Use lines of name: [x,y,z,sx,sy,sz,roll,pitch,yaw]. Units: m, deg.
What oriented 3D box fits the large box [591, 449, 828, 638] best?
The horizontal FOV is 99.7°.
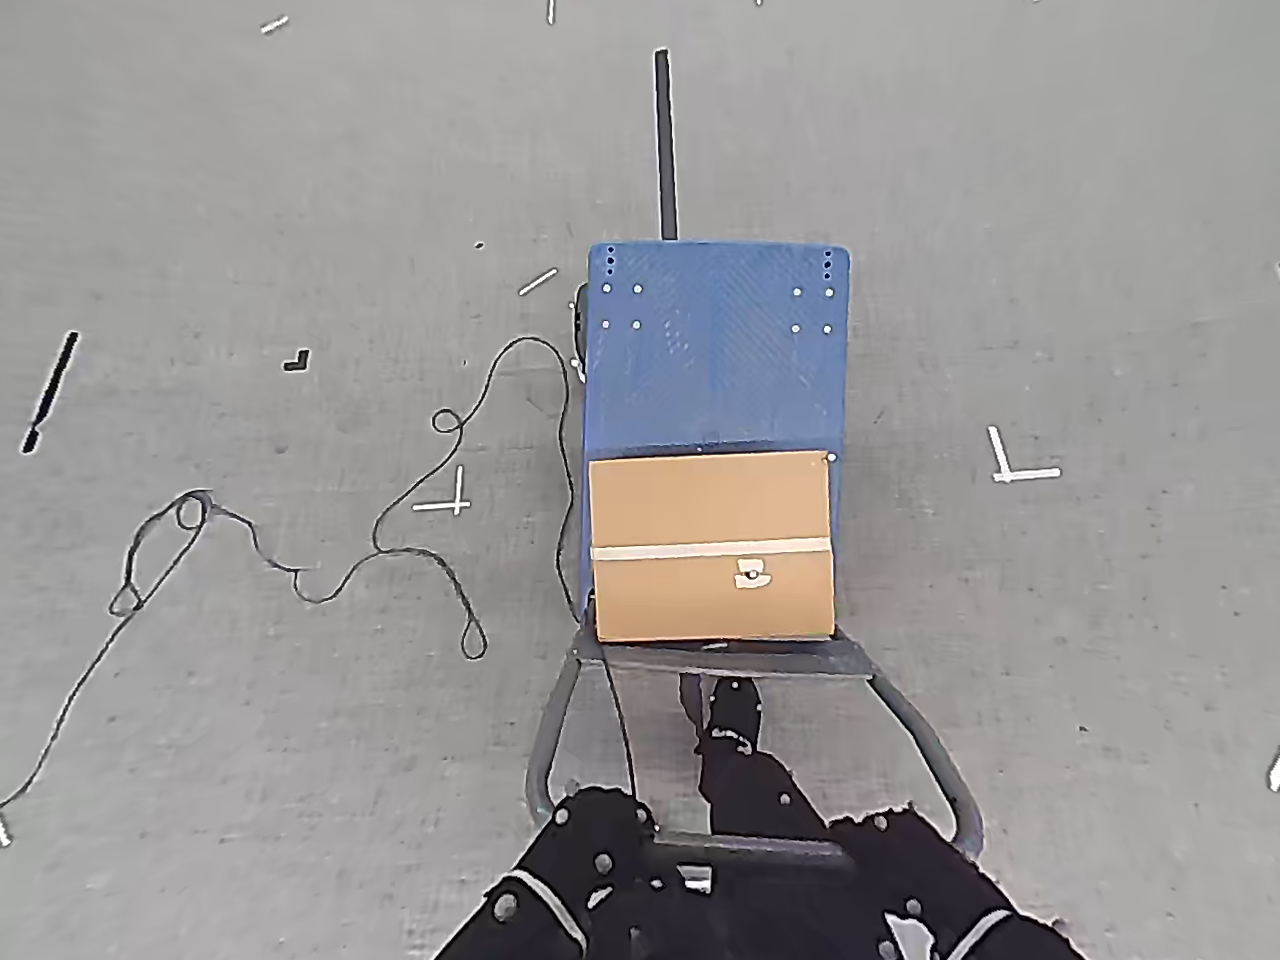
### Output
large box: [0.123,0.110,1.089,0.408,0.320,0.320,-3,92,1]
